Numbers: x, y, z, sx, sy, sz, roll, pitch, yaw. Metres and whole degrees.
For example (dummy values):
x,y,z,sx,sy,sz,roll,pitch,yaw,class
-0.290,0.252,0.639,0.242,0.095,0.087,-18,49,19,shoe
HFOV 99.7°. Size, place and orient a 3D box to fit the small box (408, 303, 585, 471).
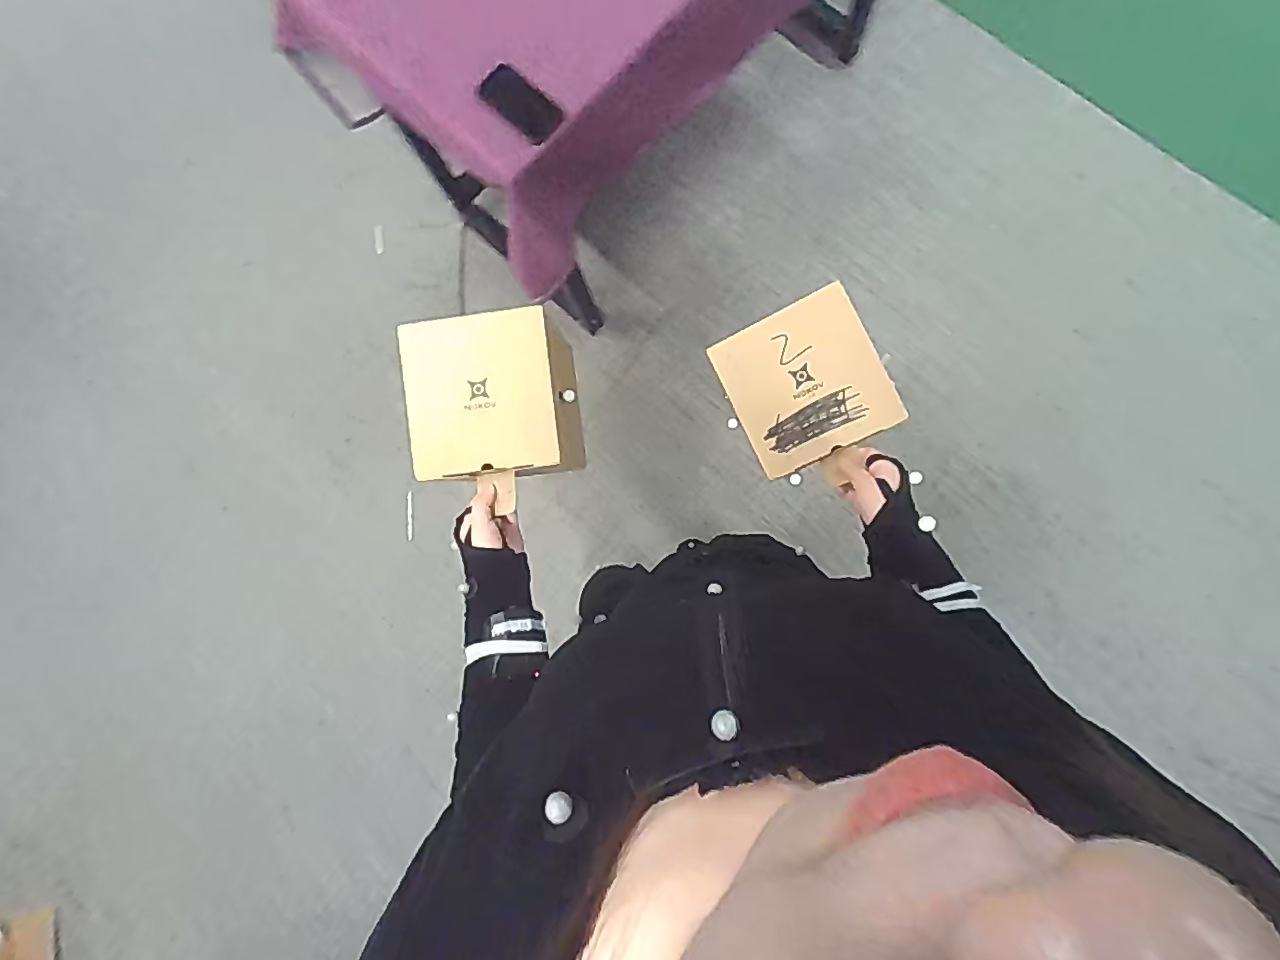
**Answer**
x,y,z,sx,sy,sz,roll,pitch,yaw,class
-0.167,-0.103,0.676,0.168,0.176,0.179,-5,91,3,small box
